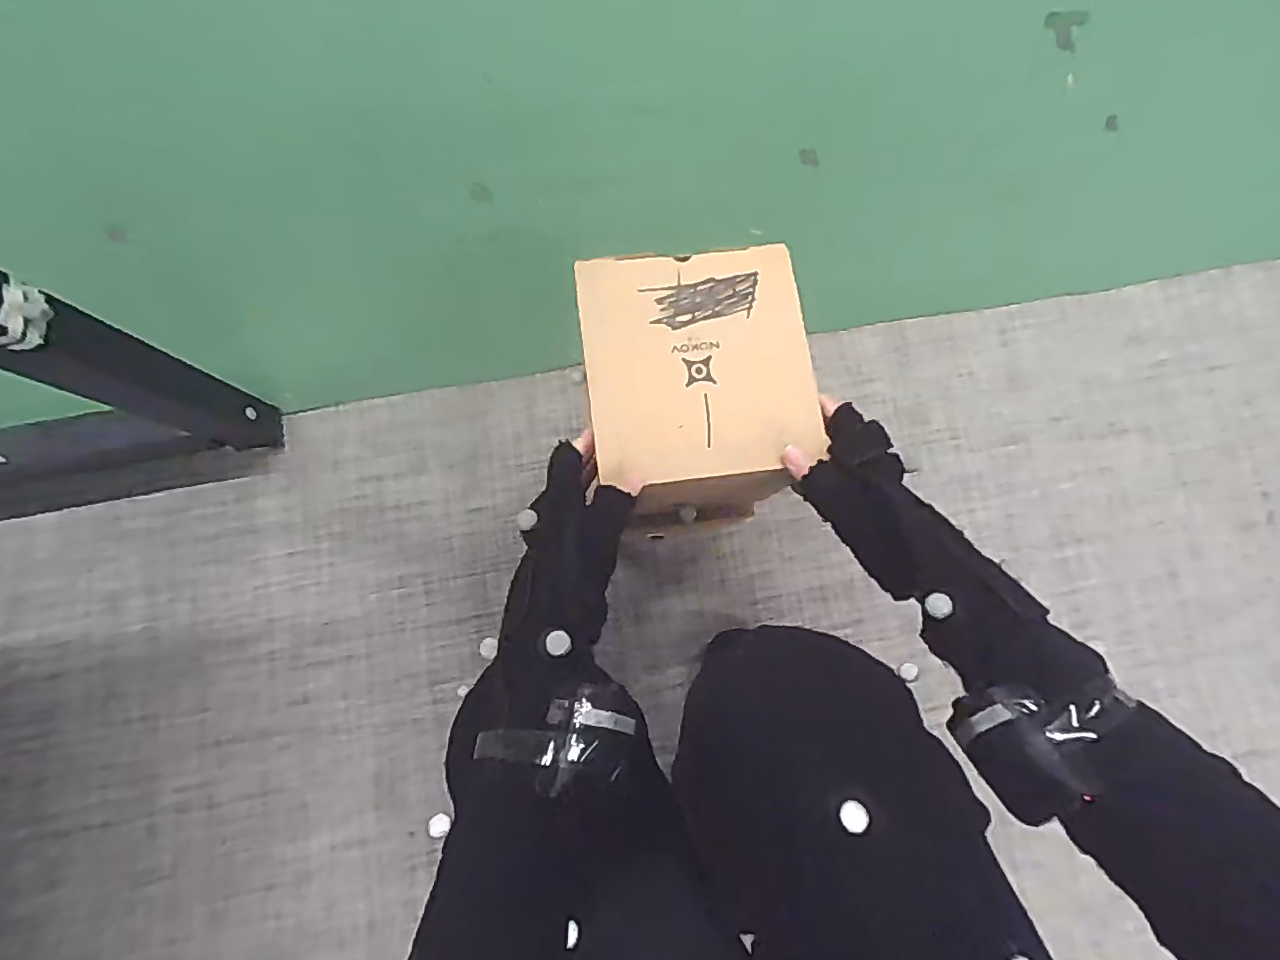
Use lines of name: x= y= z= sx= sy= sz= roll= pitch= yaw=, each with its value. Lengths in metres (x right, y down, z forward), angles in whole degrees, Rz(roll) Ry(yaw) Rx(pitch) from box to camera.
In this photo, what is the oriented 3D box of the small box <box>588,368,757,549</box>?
small box: x=0.030 y=-0.016 z=0.651 sx=0.168 sy=0.176 sz=0.179 roll=-7 pitch=81 yaw=-2
